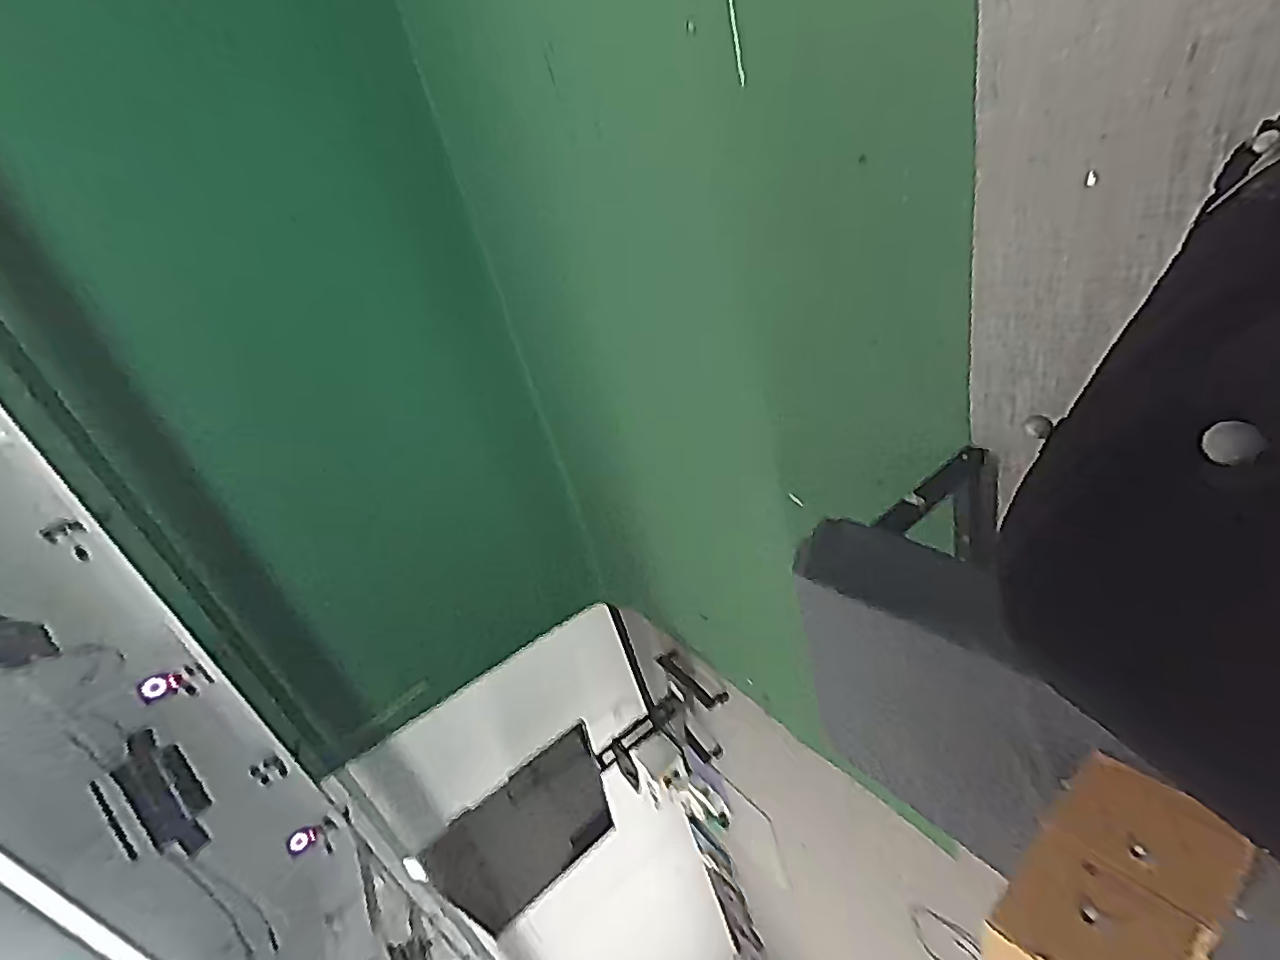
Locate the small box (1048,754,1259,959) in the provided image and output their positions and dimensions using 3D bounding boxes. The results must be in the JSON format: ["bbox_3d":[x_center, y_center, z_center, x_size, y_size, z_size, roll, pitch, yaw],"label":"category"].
[{"bbox_3d":[0.707,0.532,0.757,0.179,0.176,0.168,23,136,53],"label":"small box"}]

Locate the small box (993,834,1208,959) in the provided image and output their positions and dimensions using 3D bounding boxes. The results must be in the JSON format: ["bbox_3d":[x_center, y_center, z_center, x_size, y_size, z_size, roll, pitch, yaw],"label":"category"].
[{"bbox_3d":[0.579,0.609,0.690,0.168,0.176,0.179,20,133,54],"label":"small box"}]
